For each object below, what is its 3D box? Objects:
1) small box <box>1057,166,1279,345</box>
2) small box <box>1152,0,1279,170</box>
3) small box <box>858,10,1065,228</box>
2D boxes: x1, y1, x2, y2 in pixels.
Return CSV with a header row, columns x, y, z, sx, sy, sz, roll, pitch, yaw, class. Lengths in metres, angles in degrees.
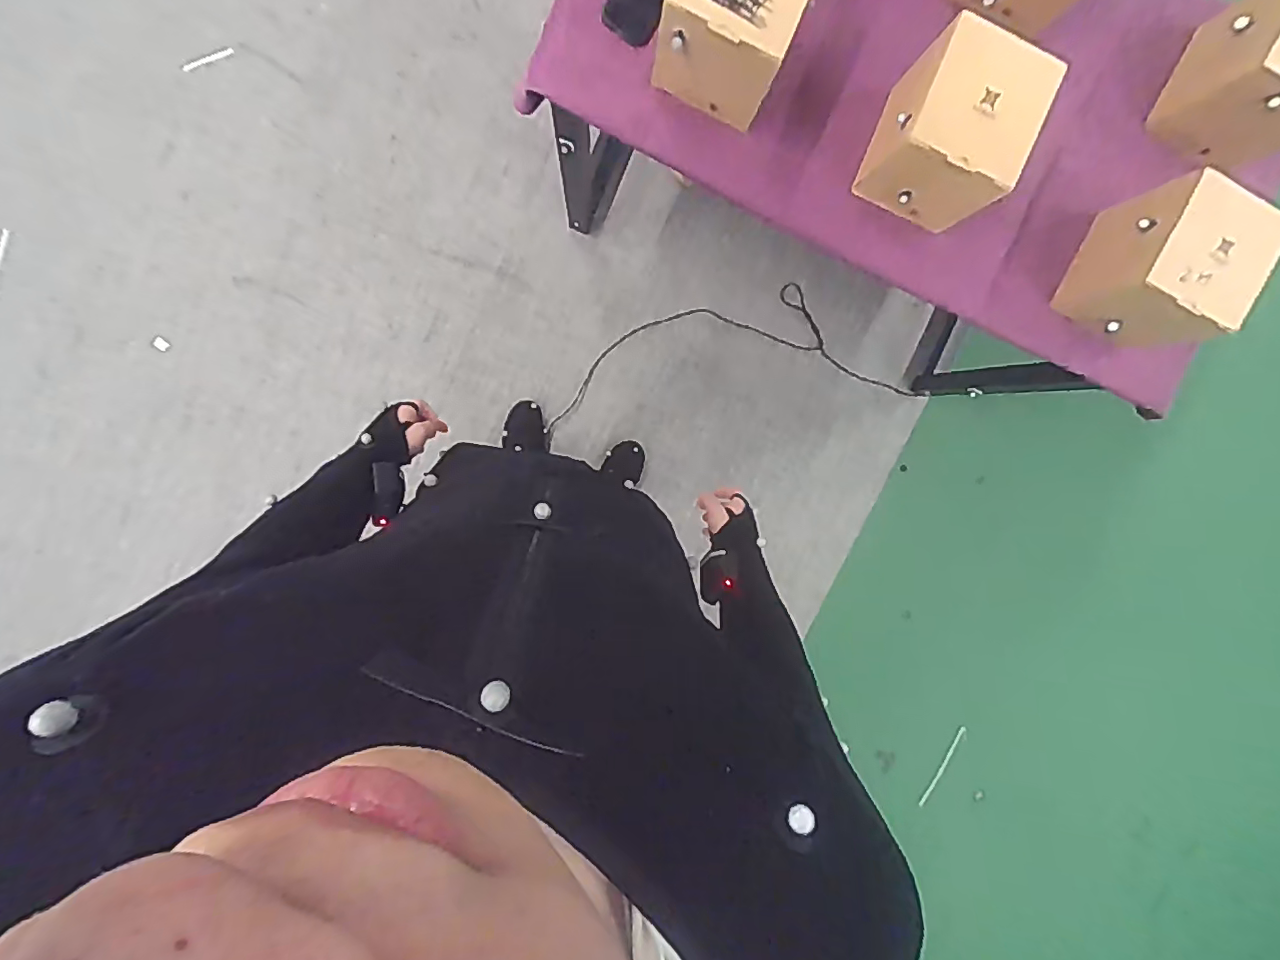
x,y,z,sx,sy,sz,roll,pitch,yaw,class
0.808,-0.331,0.837,0.168,0.176,0.179,26,94,-6,small box
0.946,-0.617,0.815,0.168,0.176,0.179,26,94,-6,small box
0.452,-0.507,0.790,0.168,0.176,0.179,21,95,-7,small box
